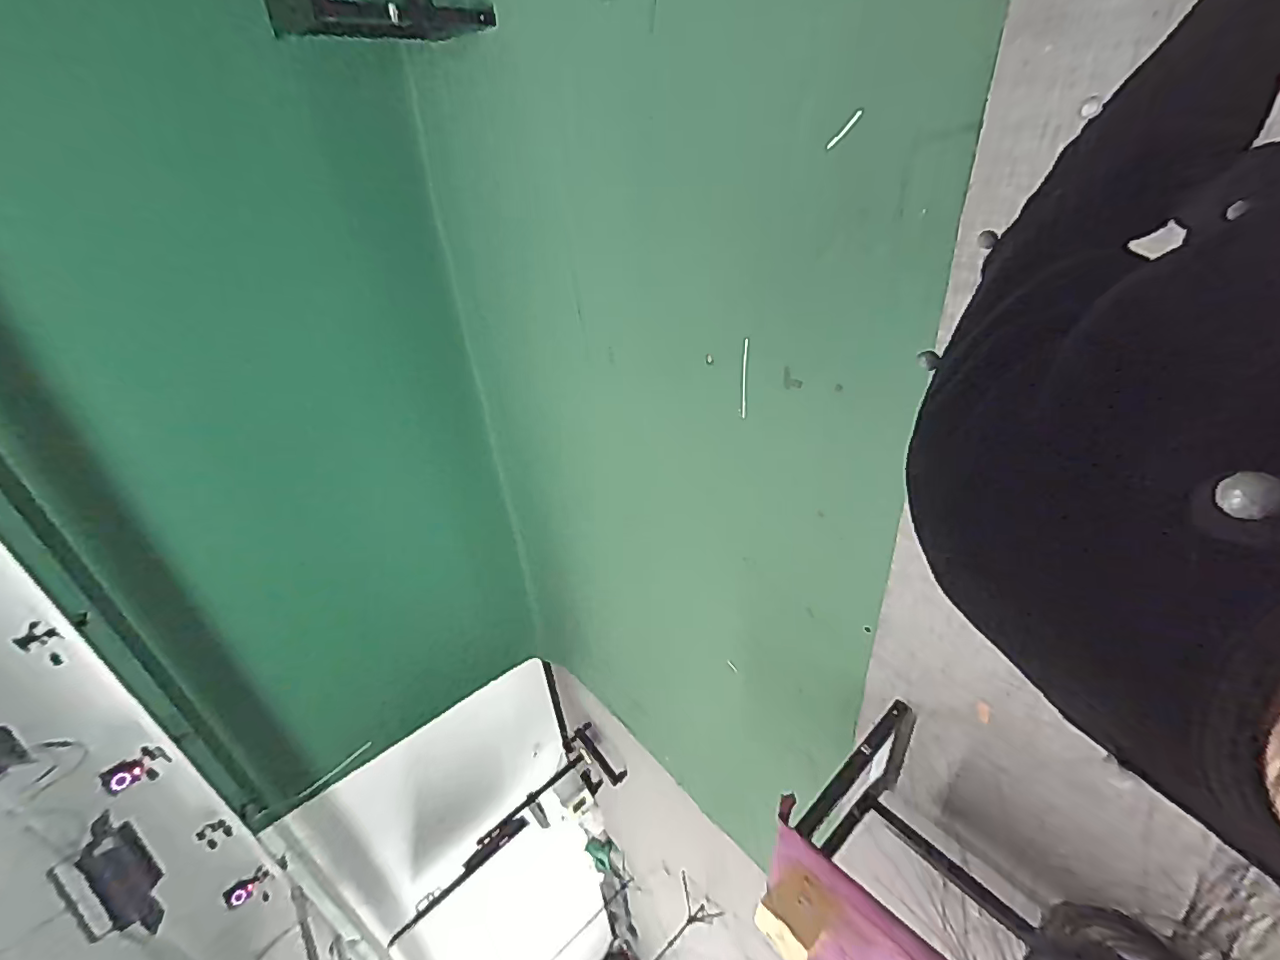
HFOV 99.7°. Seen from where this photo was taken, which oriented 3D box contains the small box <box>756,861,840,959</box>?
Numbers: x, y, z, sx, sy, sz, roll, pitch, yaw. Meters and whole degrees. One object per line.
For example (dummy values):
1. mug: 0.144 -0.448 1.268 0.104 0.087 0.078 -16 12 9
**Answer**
1. small box: 0.471 1.292 1.609 0.168 0.176 0.179 32 135 39
